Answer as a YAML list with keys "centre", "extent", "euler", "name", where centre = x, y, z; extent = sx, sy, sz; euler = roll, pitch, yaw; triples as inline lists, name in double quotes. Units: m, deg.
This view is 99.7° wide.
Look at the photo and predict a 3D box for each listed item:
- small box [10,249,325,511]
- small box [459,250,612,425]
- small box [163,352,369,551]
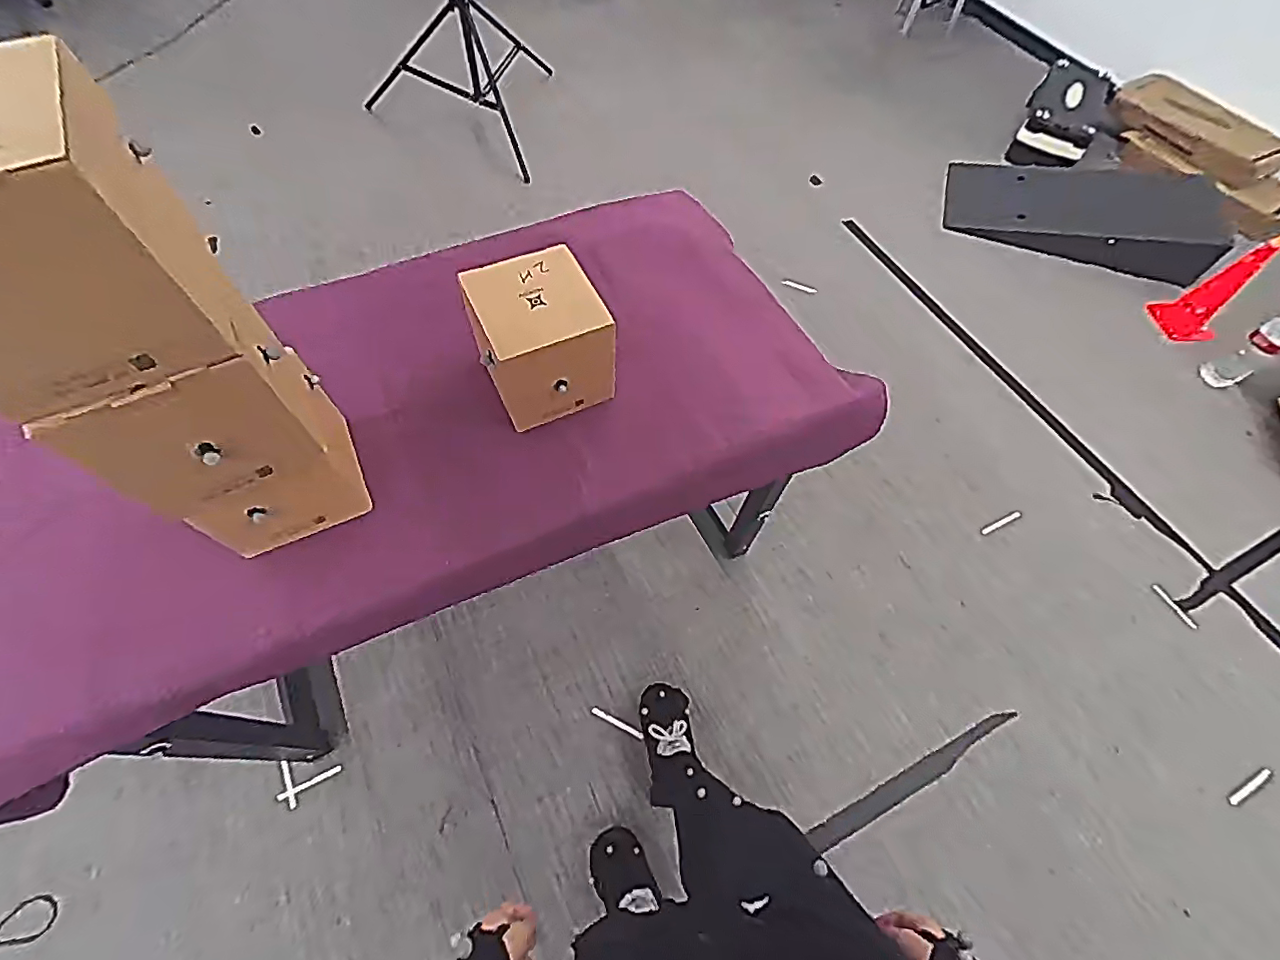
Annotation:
- centre: [-0.457, -0.089, 0.548]
  extent: [0.168, 0.176, 0.179]
  euler: [-28, 67, -17]
  name: "small box"
- centre: [-0.149, -0.204, 0.812]
  extent: [0.168, 0.176, 0.179]
  euler: [-23, 65, -15]
  name: "small box"
- centre: [-0.478, -0.026, 0.699]
  extent: [0.168, 0.176, 0.179]
  euler: [-23, 65, -15]
  name: "small box"
